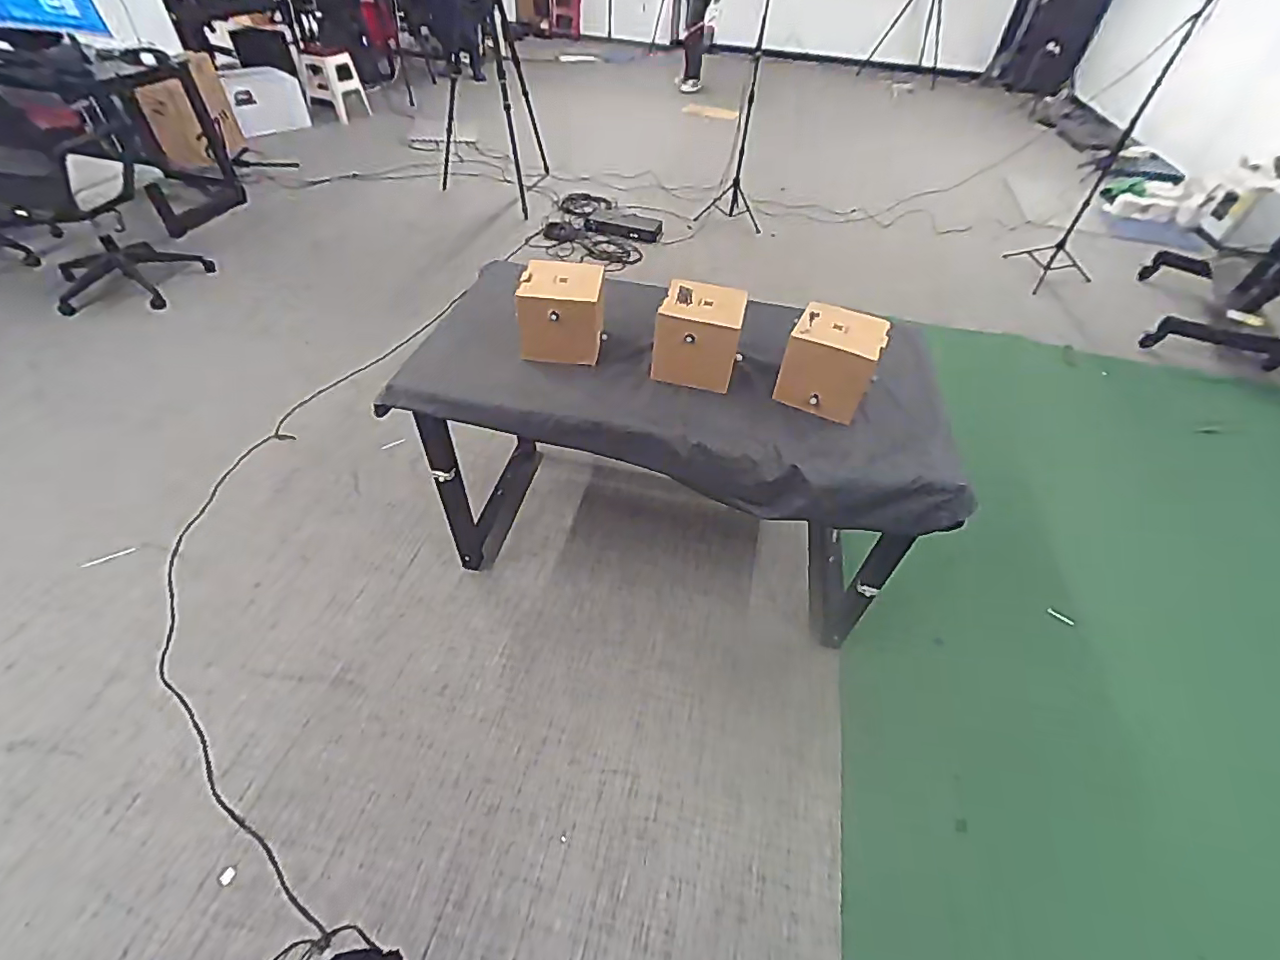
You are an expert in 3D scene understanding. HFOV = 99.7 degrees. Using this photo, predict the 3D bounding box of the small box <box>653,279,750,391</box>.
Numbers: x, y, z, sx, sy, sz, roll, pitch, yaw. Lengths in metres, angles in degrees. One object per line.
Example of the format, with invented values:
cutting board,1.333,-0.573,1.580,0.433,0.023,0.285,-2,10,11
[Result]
small box,0.134,-0.323,1.215,0.179,0.176,0.168,14,48,6

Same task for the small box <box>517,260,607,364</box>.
small box,-0.173,-0.386,1.250,0.179,0.176,0.168,5,48,-1

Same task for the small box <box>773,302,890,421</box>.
small box,0.411,-0.253,1.173,0.179,0.176,0.168,23,50,16
